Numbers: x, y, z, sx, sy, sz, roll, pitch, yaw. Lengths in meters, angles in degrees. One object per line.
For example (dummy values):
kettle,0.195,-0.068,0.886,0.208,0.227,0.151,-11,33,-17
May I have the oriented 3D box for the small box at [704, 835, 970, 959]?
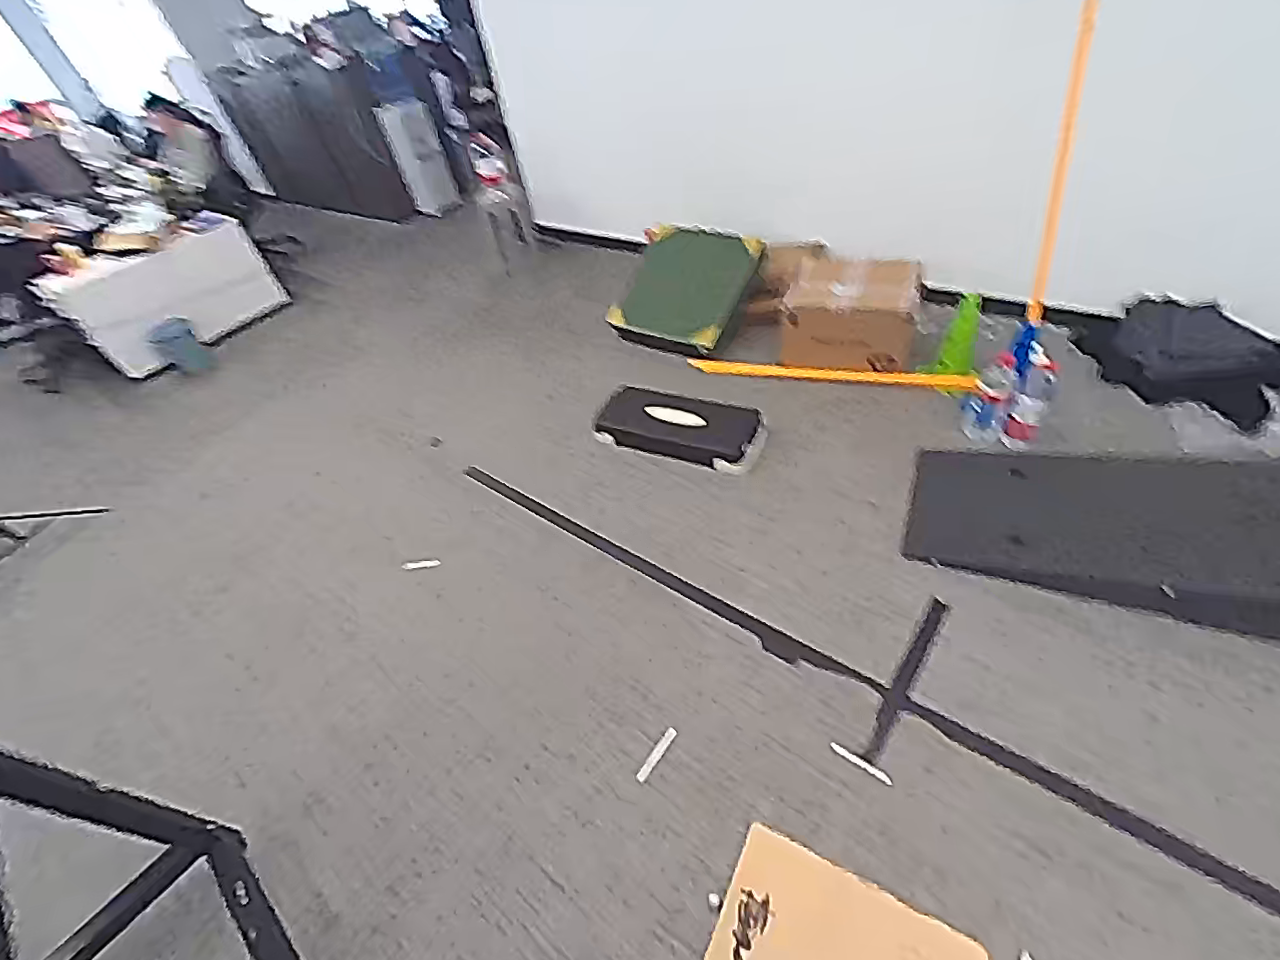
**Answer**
small box,0.136,0.415,0.413,0.179,0.176,0.168,17,53,25
